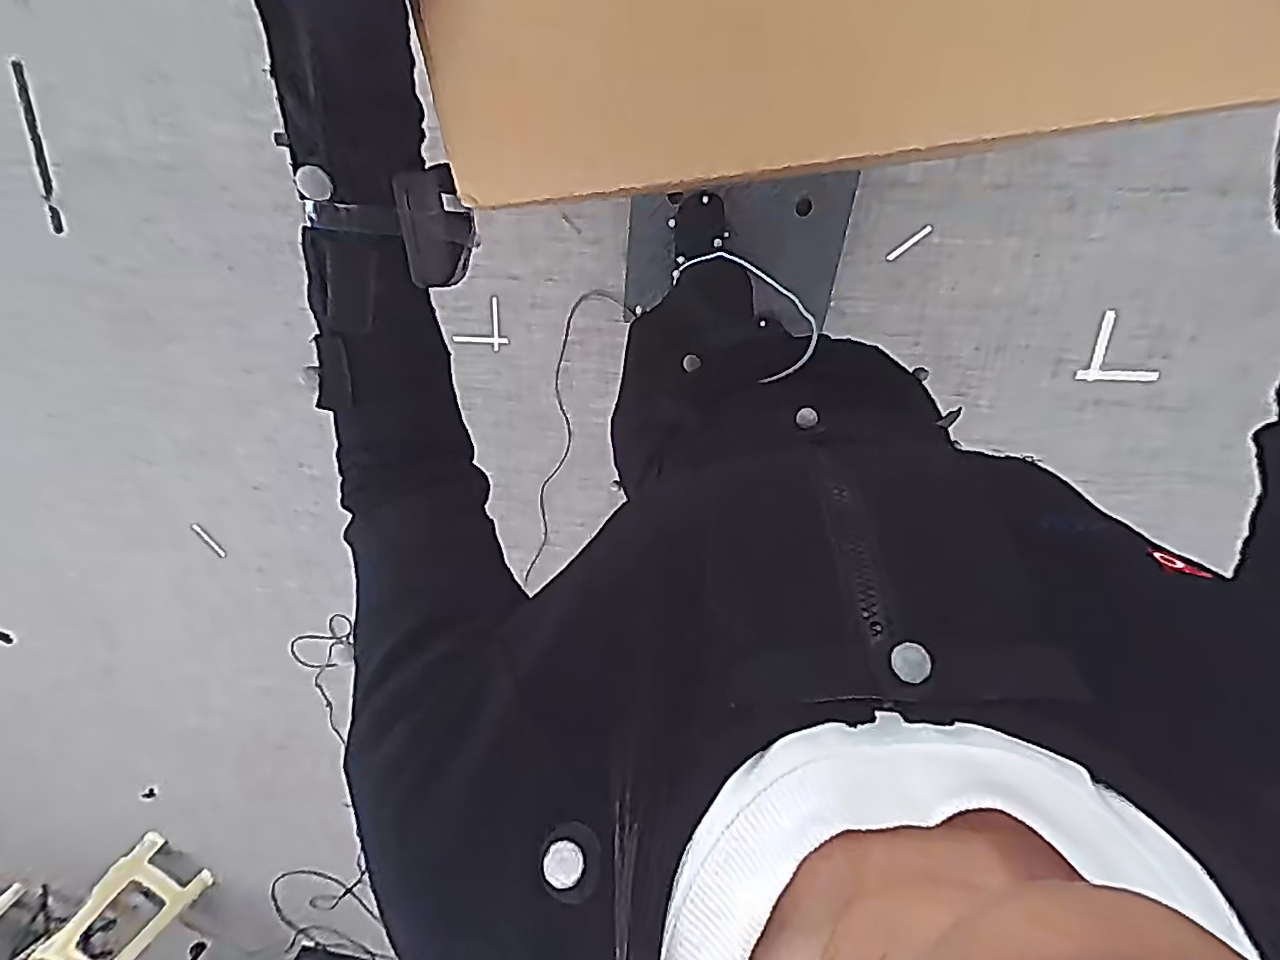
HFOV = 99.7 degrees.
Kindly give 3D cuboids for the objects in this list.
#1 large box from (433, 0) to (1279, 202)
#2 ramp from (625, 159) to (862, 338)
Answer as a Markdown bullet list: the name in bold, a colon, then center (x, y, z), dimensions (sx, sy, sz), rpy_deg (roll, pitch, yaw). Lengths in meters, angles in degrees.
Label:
- **large box**: center (0.100, -0.374, 0.336), dimensions (0.408, 0.320, 0.320), rpy_deg (-4, 118, 9)
- **ramp**: center (0.236, -0.808, 1.103), dimensions (0.509, 0.206, 0.991), rpy_deg (6, 111, 5)
